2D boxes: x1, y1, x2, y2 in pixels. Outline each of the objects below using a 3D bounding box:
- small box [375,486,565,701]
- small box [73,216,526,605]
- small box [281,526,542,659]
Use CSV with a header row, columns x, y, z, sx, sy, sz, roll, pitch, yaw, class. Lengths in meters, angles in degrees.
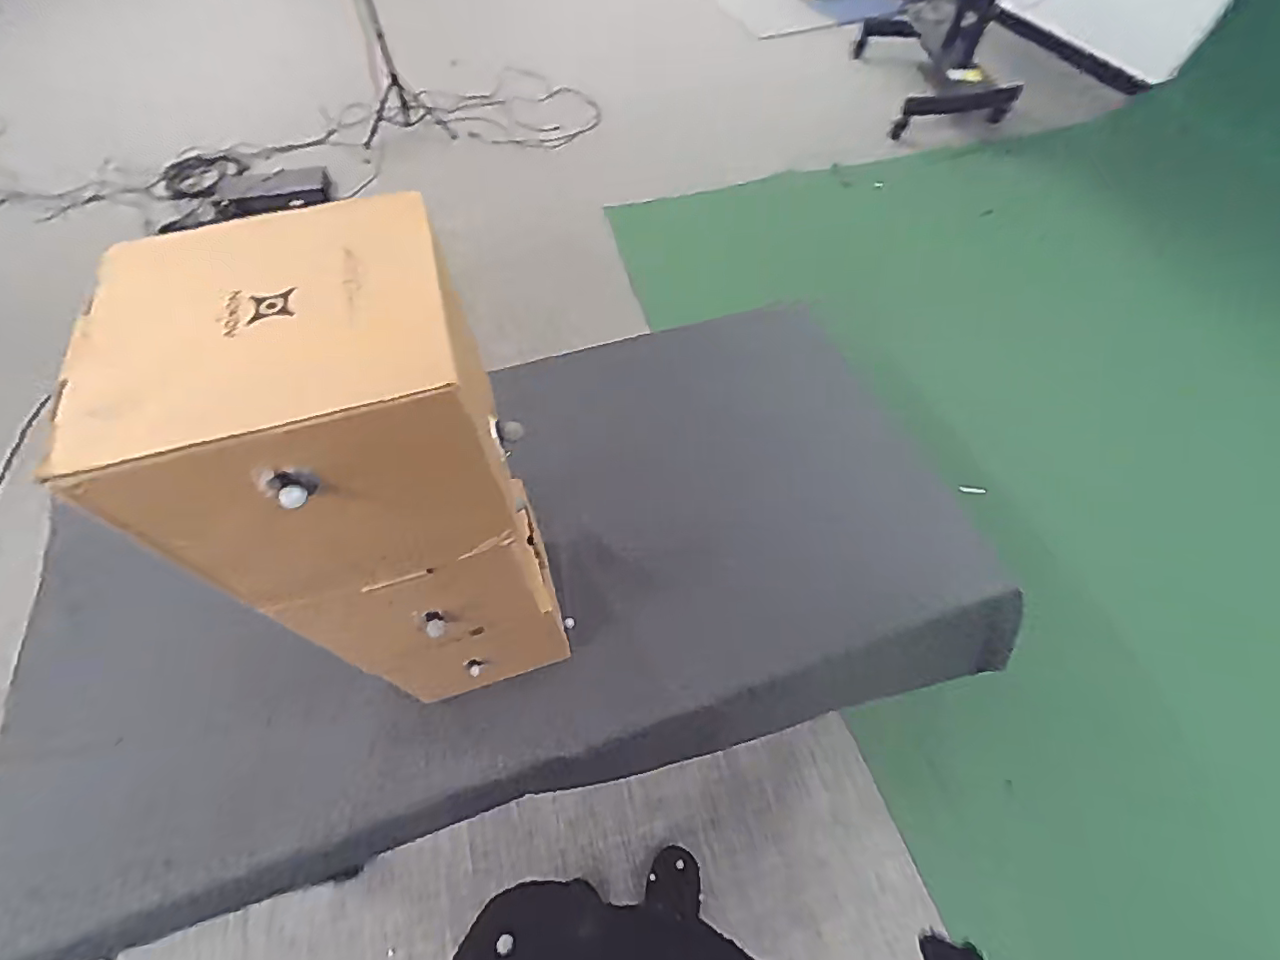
x,y,z,sx,sy,sz,roll,pitch,yaw,class
-0.191,0.136,0.631,0.179,0.176,0.168,-16,58,-9,small box
-0.189,-0.038,0.356,0.179,0.176,0.168,-15,59,-10,small box
-0.197,0.047,0.495,0.168,0.176,0.179,-17,58,-10,small box
